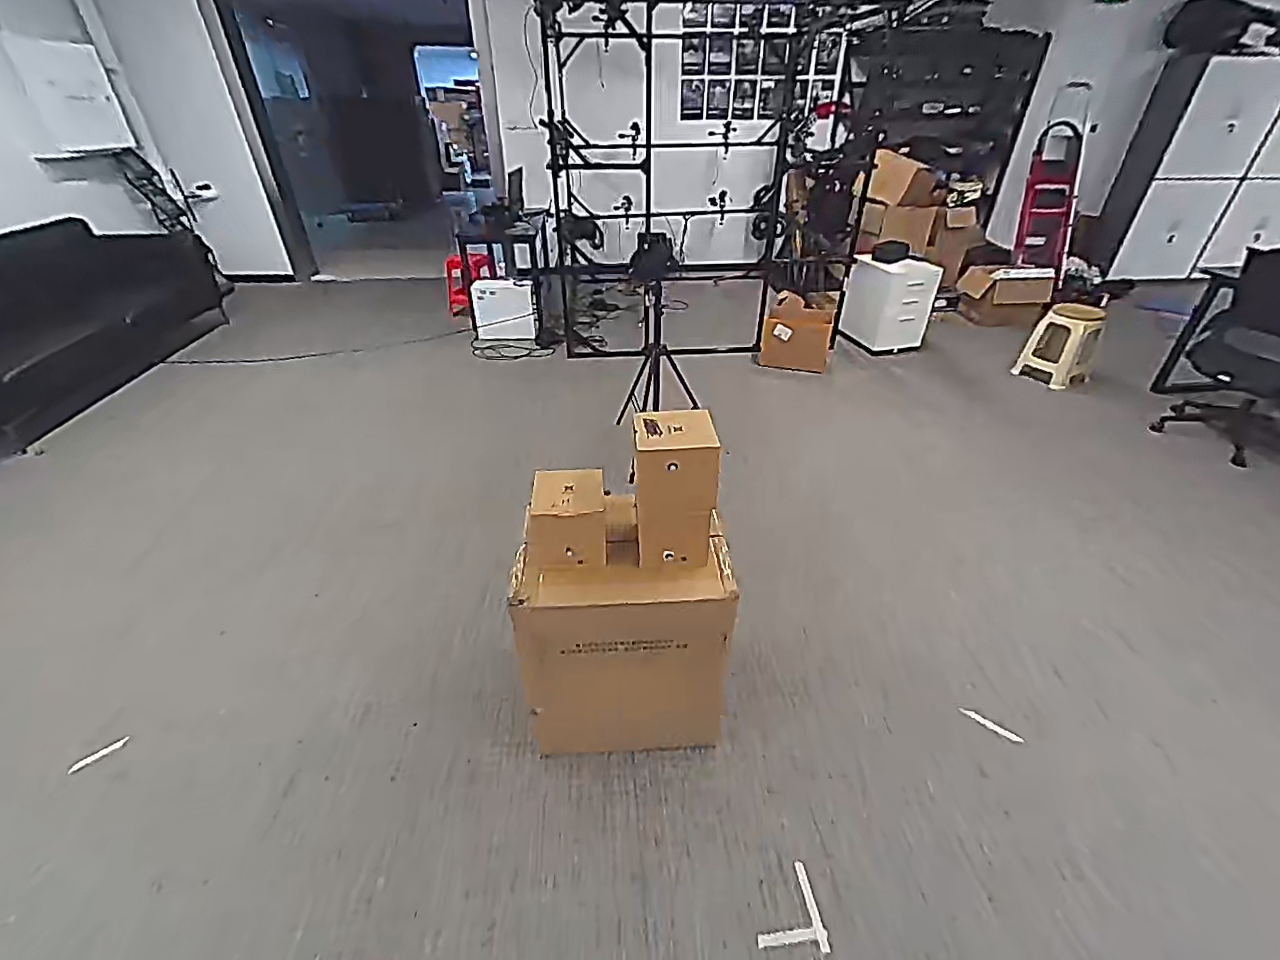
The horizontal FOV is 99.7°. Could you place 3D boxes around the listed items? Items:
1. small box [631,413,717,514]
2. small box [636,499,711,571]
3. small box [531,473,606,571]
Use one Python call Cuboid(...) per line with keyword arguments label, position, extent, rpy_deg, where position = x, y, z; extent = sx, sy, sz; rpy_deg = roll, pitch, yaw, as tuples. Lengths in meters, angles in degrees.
Cuboid(label="small box", position=(0.074, -0.035, 1.220), extent=(0.179, 0.176, 0.168), rpy_deg=(-4, 35, -2))
Cuboid(label="small box", position=(0.075, 0.099, 1.315), extent=(0.168, 0.176, 0.179), rpy_deg=(-4, 36, -2))
Cuboid(label="small box", position=(-0.168, 0.101, 1.312), extent=(0.168, 0.176, 0.179), rpy_deg=(-3, 35, -5))
